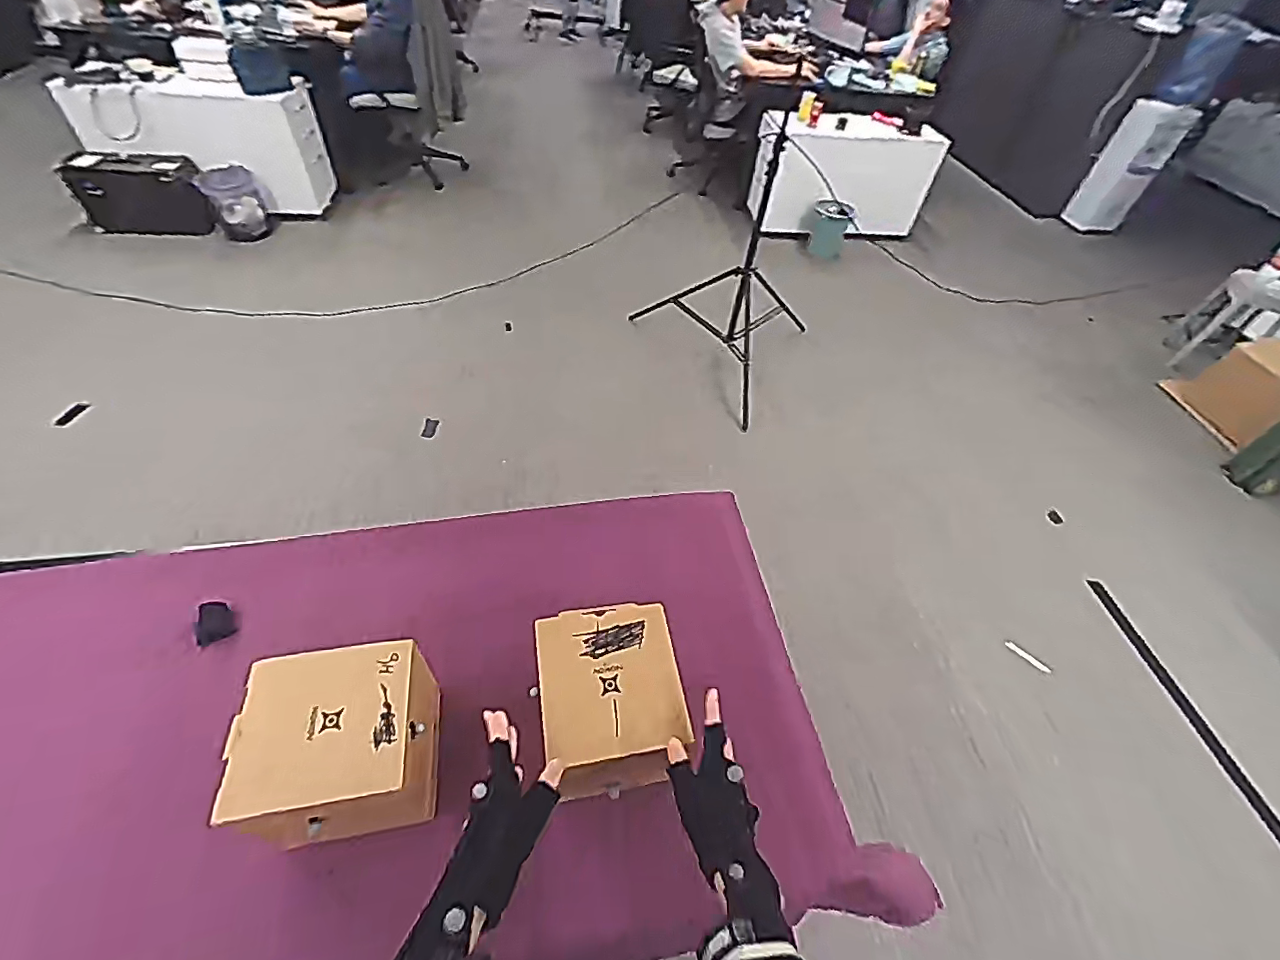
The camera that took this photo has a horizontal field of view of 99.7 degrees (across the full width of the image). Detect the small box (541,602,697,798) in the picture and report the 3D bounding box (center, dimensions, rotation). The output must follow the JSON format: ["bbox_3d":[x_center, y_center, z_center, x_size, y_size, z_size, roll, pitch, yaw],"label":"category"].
[{"bbox_3d":[-0.038,0.283,0.698,0.168,0.176,0.179,-6,50,-11],"label":"small box"}]

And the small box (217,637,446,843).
[{"bbox_3d":[-0.342,0.310,0.643,0.179,0.176,0.168,-6,49,-10],"label":"small box"}]
